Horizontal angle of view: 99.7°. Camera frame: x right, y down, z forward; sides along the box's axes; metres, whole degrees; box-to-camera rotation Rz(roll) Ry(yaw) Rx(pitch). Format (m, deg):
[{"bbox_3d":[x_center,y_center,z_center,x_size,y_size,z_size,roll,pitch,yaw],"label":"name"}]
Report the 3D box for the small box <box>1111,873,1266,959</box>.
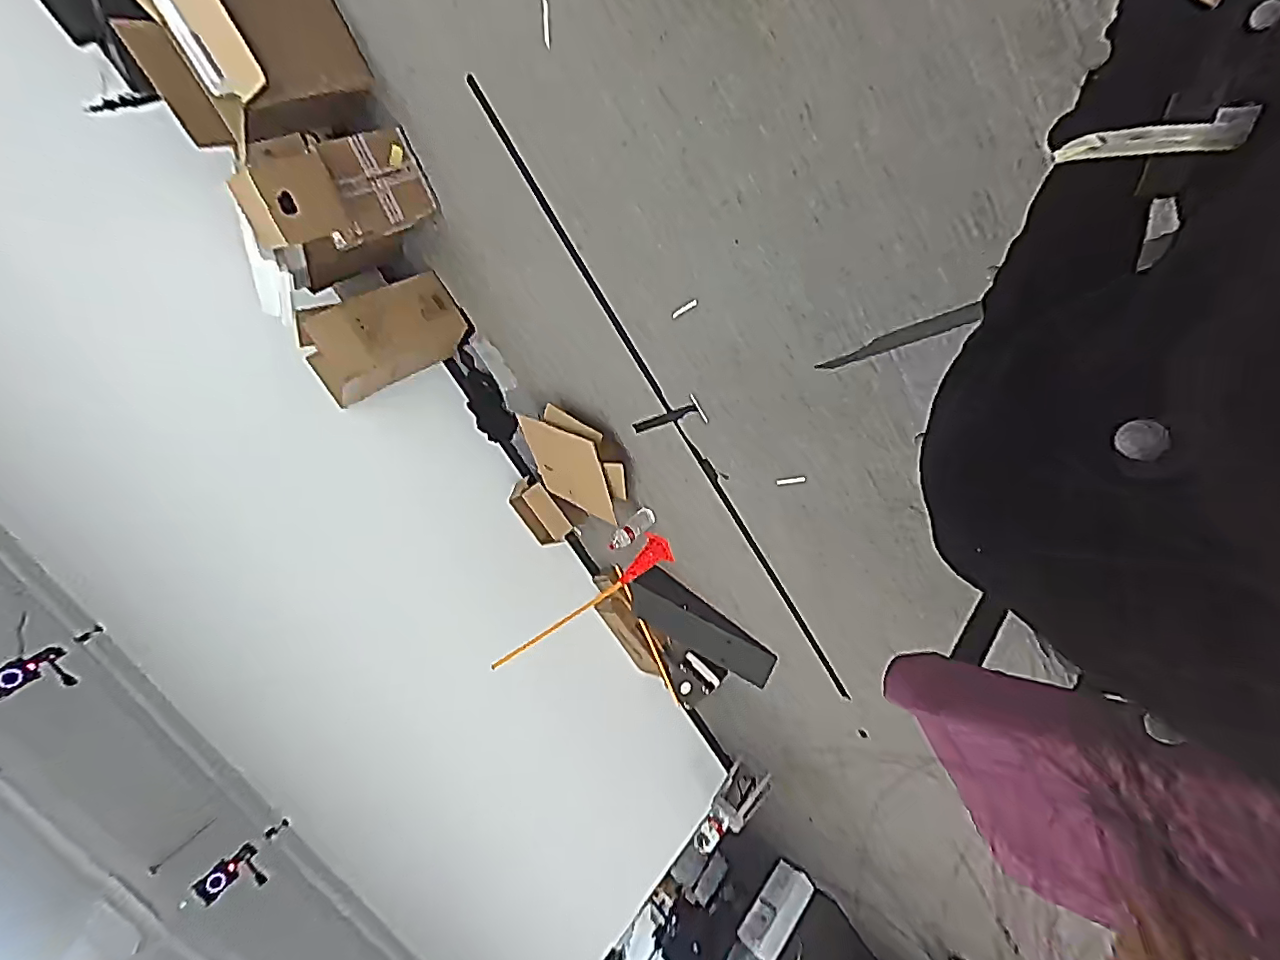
[{"bbox_3d":[1.005,0.880,0.982,0.168,0.176,0.179,-11,113,57],"label":"small box"}]
